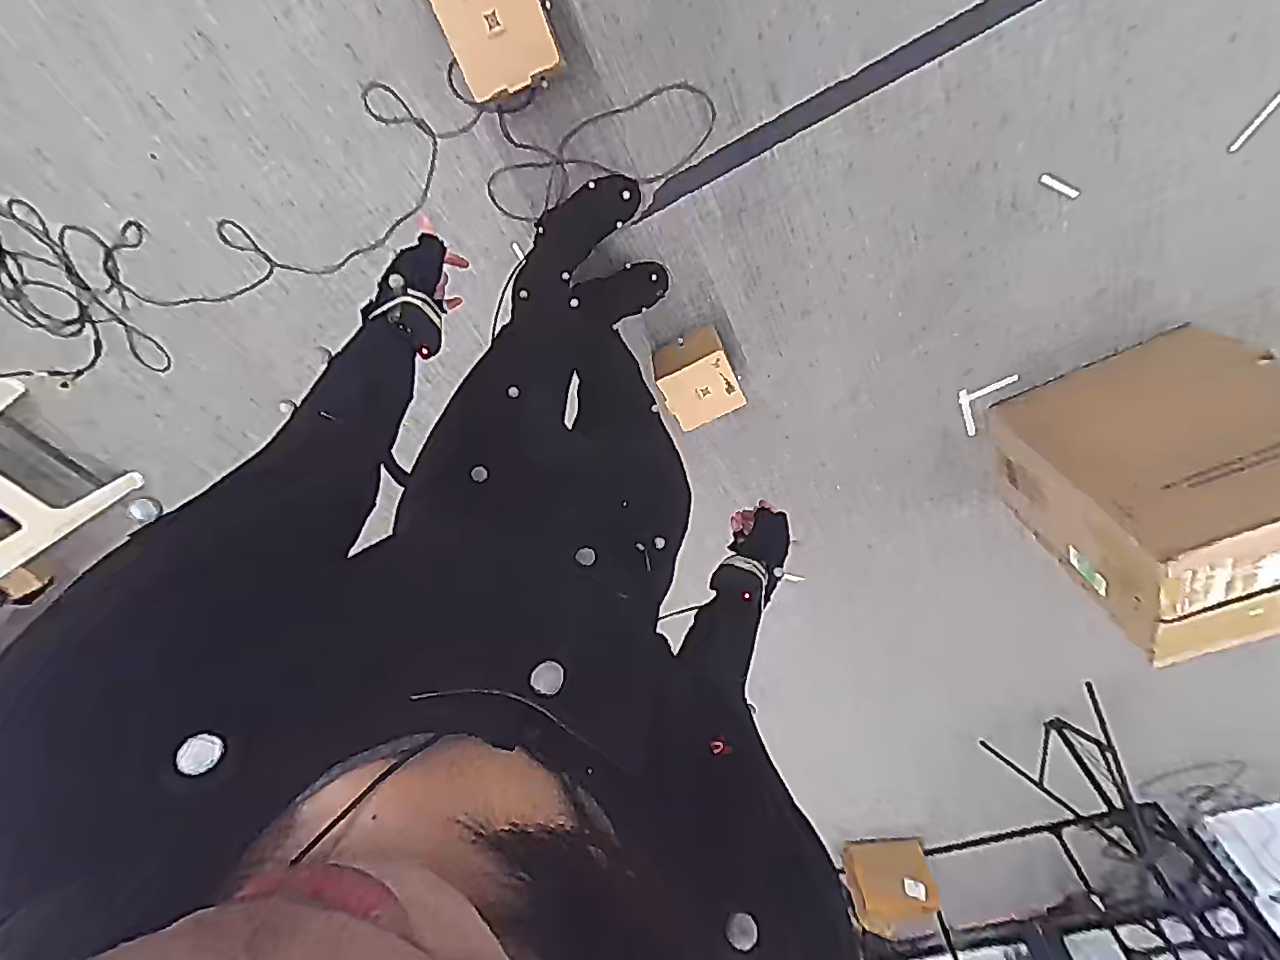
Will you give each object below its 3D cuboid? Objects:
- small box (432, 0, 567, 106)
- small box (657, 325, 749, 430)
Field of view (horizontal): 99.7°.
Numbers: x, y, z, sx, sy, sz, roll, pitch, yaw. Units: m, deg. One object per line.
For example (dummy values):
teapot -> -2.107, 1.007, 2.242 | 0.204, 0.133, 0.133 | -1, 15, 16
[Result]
small box -> -0.239, -0.792, 0.953 | 0.168, 0.176, 0.179 | -20, 122, 10
small box -> 0.154, -0.262, 1.367 | 0.179, 0.176, 0.168 | -24, 124, 15
